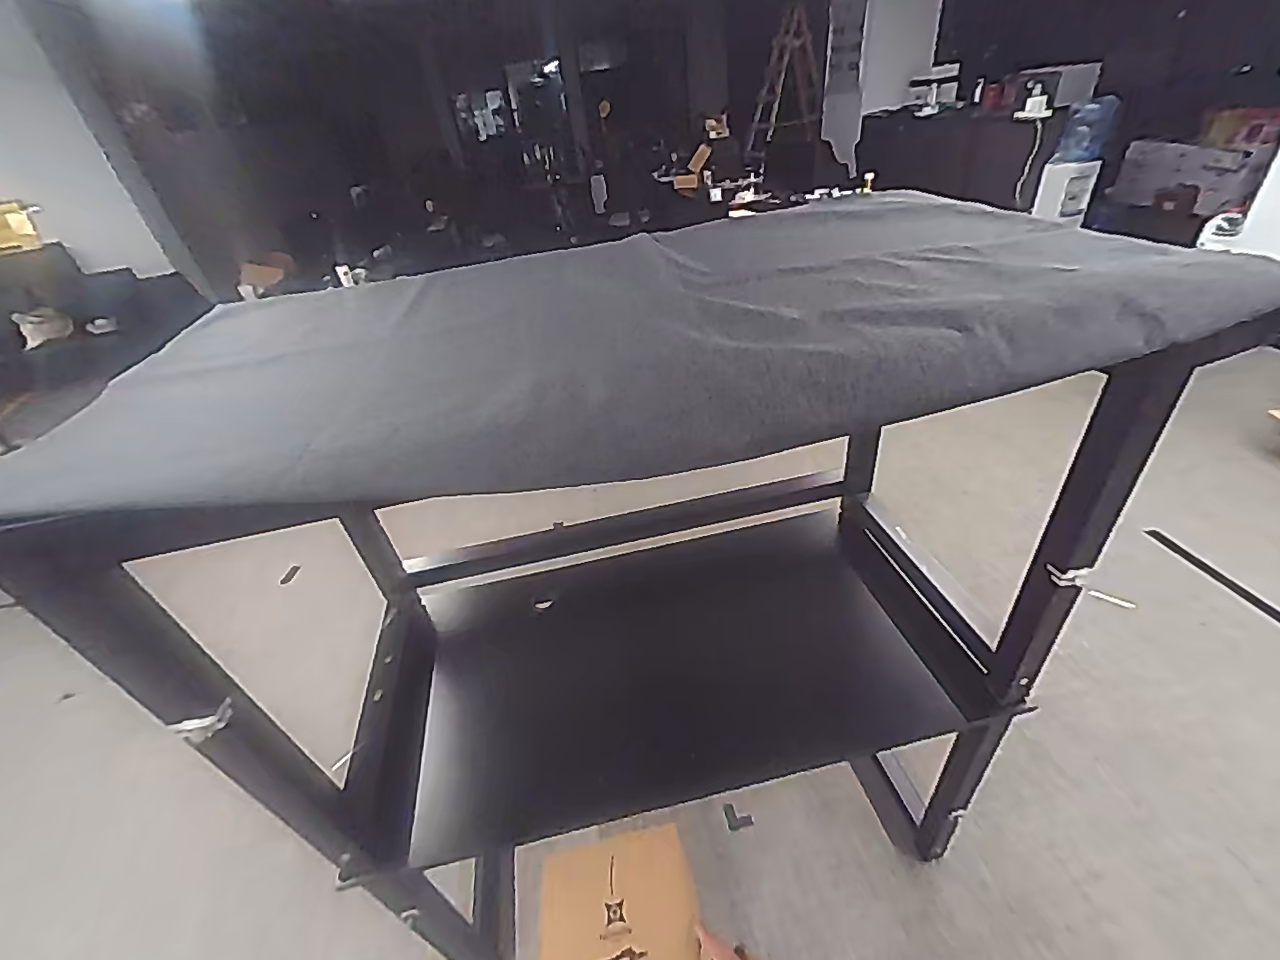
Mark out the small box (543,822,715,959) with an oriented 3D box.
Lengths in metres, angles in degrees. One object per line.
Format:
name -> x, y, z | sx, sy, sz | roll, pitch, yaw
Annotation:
small box -> -0.004, 0.531, 0.603 | 0.168, 0.176, 0.179 | -13, 28, 0
